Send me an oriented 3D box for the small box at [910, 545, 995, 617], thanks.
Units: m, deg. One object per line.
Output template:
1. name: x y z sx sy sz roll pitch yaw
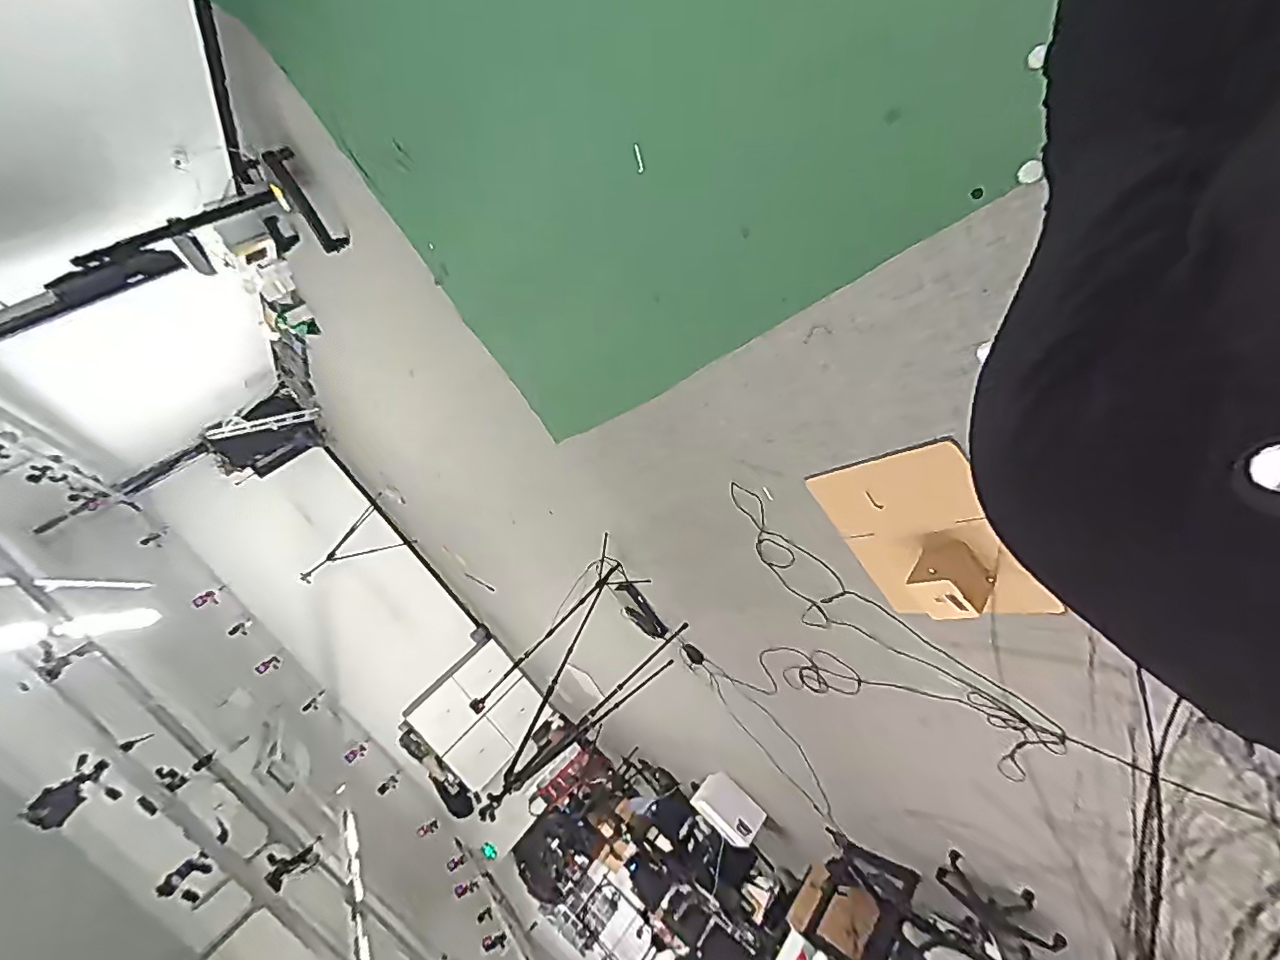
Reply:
1. small box: 1.058 0.338 1.817 0.168 0.176 0.179 49 151 -4
